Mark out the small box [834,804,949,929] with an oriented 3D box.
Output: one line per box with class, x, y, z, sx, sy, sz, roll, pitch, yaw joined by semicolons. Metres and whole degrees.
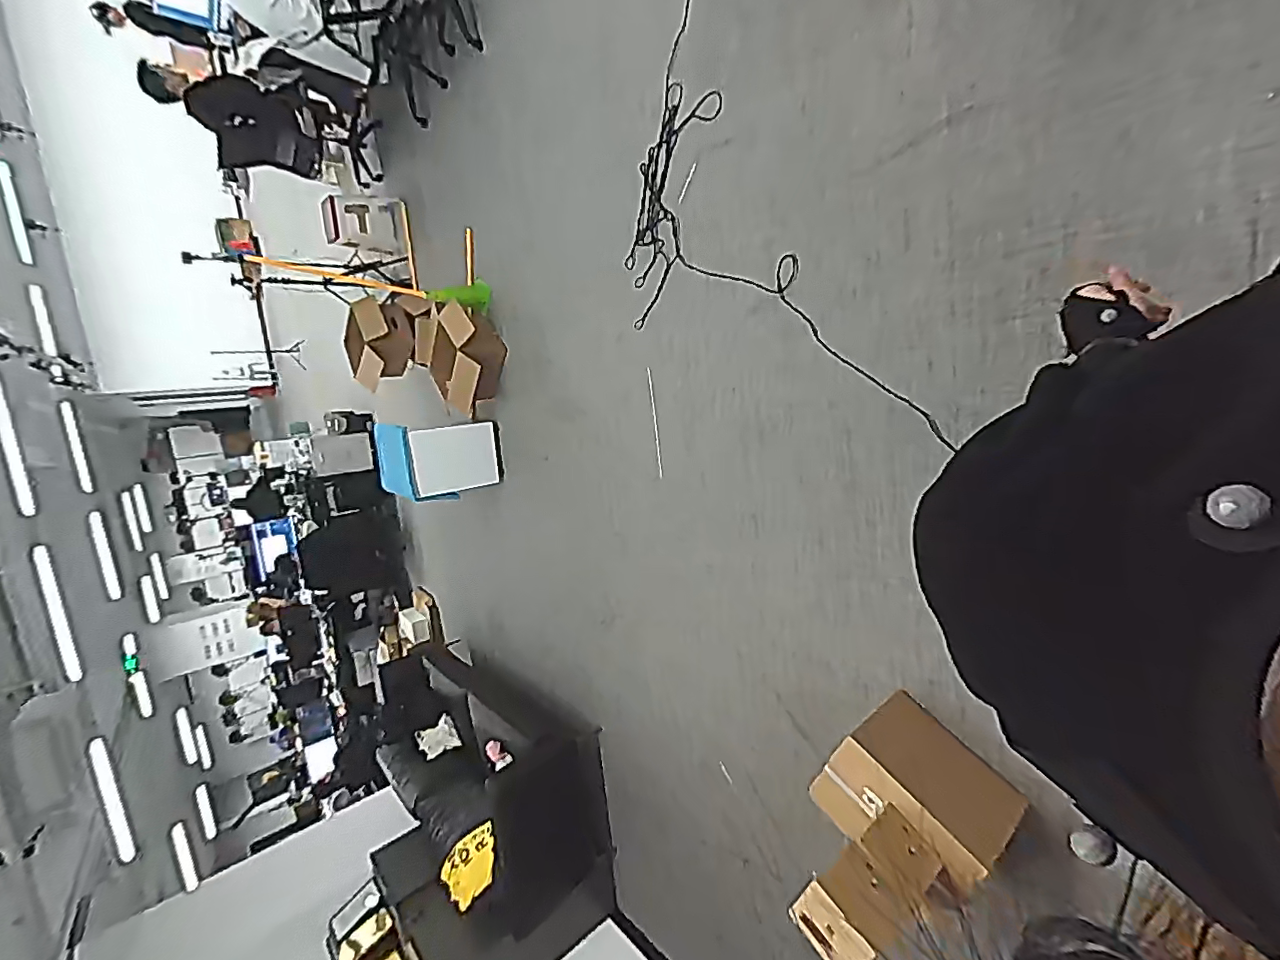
small box;0.636;0.968;1.364;0.168;0.176;0.179;46;133;34
